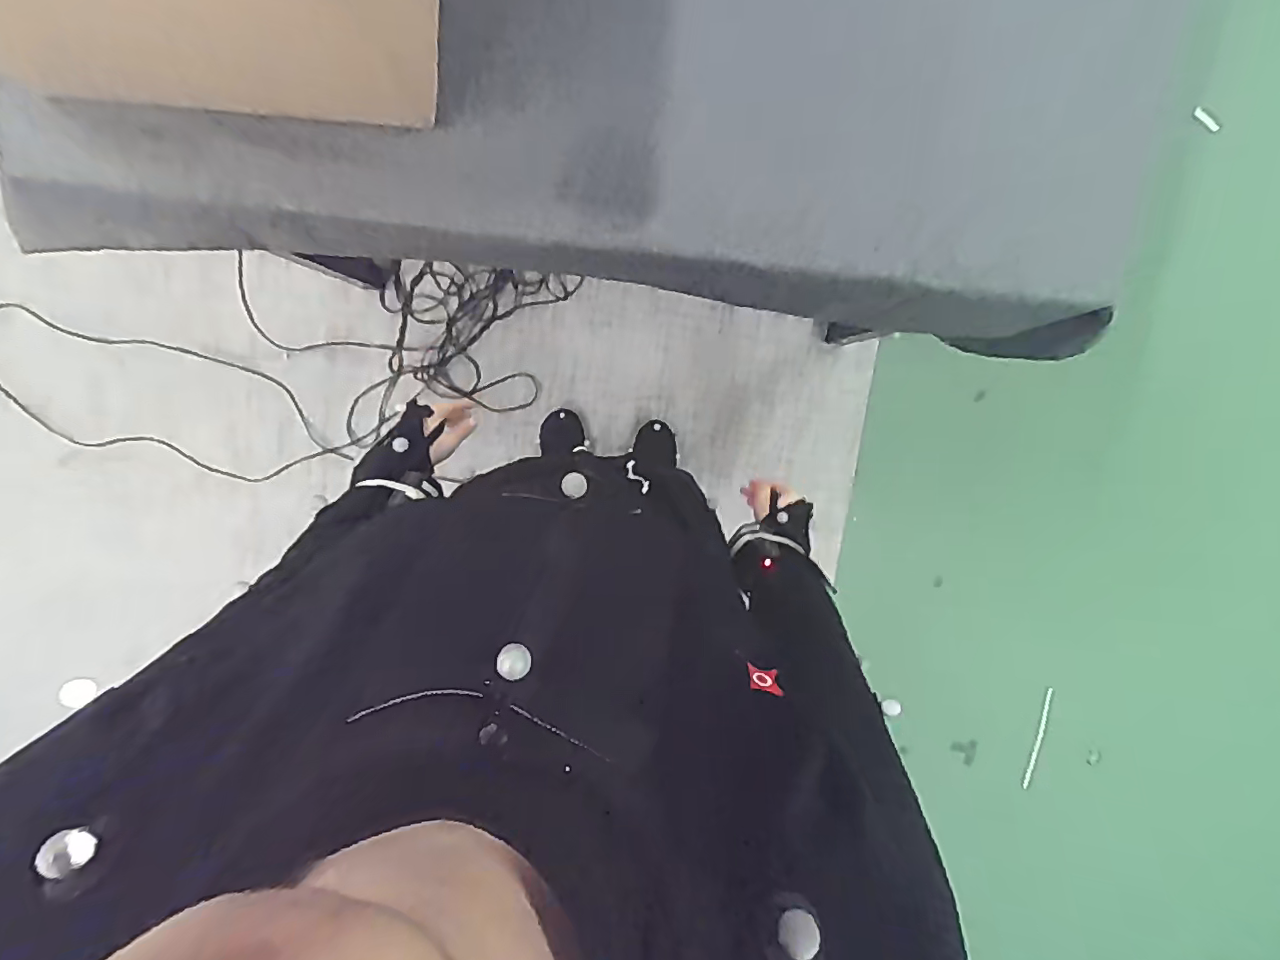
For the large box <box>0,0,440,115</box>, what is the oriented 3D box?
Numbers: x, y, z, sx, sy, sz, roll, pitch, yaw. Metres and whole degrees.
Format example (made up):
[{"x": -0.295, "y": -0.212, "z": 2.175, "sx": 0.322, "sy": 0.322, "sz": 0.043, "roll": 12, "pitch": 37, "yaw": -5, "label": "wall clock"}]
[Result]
[{"x": -0.389, "y": -0.511, "z": 0.383, "sx": 0.408, "sy": 0.320, "sz": 0.320, "roll": 2, "pitch": 99, "yaw": -4, "label": "large box"}]
